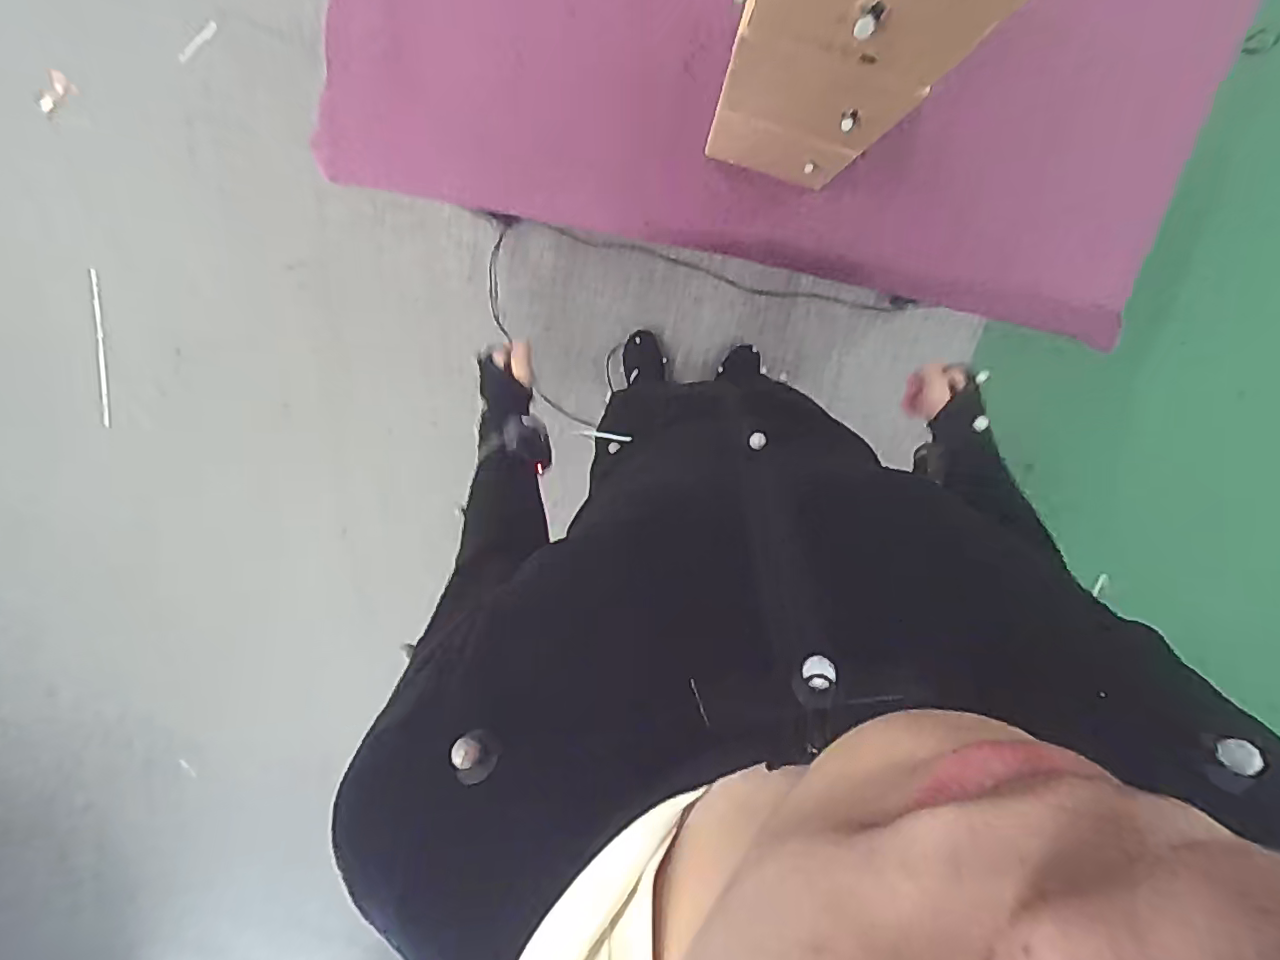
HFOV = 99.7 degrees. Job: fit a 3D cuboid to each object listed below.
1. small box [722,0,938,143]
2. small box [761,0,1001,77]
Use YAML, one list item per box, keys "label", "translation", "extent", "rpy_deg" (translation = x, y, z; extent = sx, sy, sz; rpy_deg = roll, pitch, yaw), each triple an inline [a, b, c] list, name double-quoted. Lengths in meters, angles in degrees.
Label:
- label: "small box"
  translation: [0.192, -0.455, 0.521]
  extent: [0.179, 0.176, 0.168]
  rpy_deg: [16, 105, -2]
- label: "small box"
  translation: [0.189, -0.418, 0.362]
  extent: [0.168, 0.176, 0.179]
  rpy_deg: [16, 105, -3]
